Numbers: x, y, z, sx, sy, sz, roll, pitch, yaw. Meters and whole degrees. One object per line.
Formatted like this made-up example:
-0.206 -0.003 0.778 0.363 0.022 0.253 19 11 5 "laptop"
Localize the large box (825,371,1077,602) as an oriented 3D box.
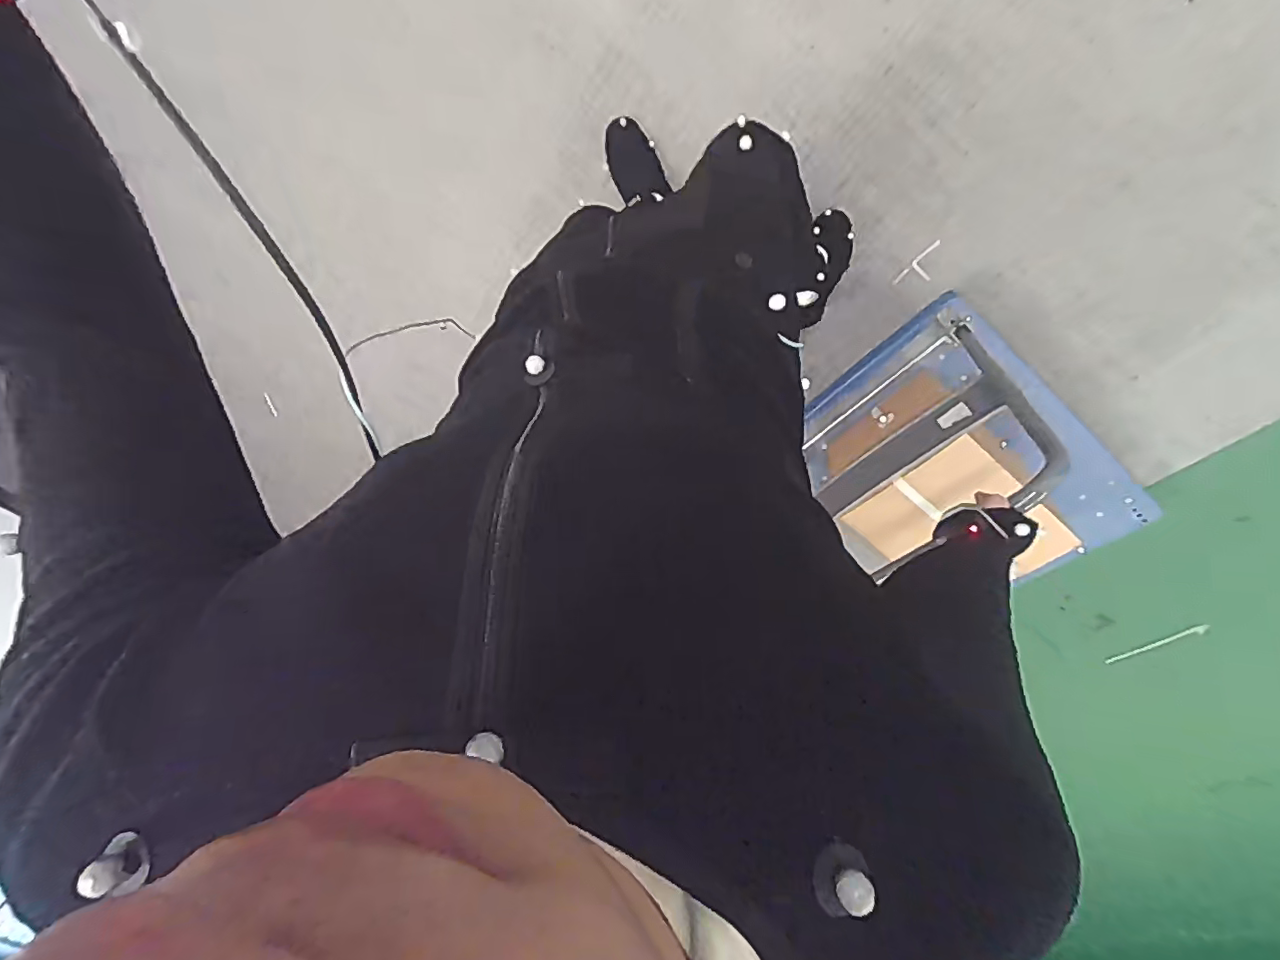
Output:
0.717 0.014 1.312 0.408 0.320 0.320 36 125 -15 "large box"
